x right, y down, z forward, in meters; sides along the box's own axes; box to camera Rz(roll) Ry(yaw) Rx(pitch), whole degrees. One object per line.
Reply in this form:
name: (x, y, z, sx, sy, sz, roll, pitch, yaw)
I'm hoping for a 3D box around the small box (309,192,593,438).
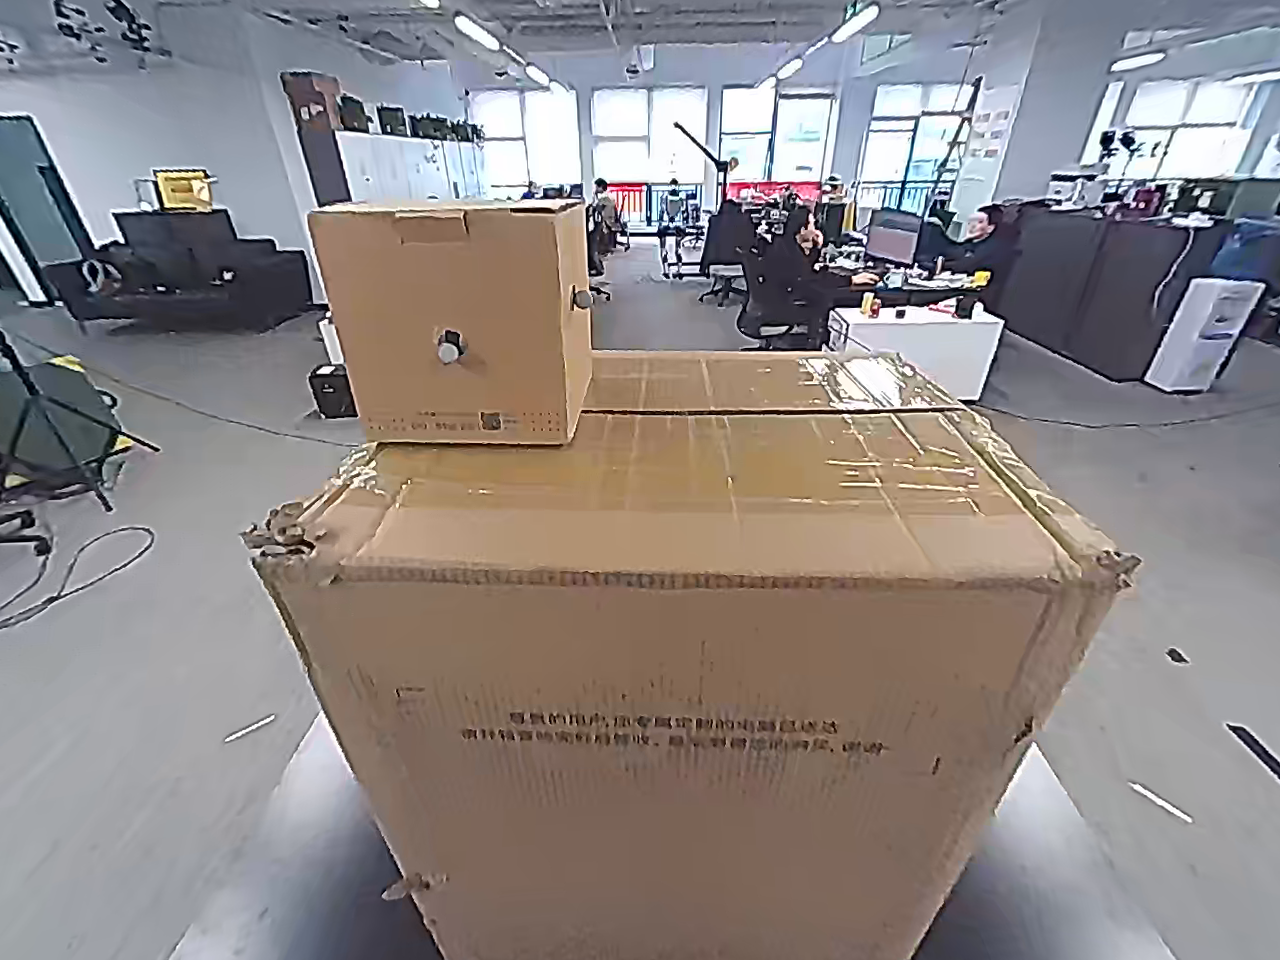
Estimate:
small box: (-0.131, -0.143, 0.457, 0.168, 0.176, 0.179, 1, 30, 1)
